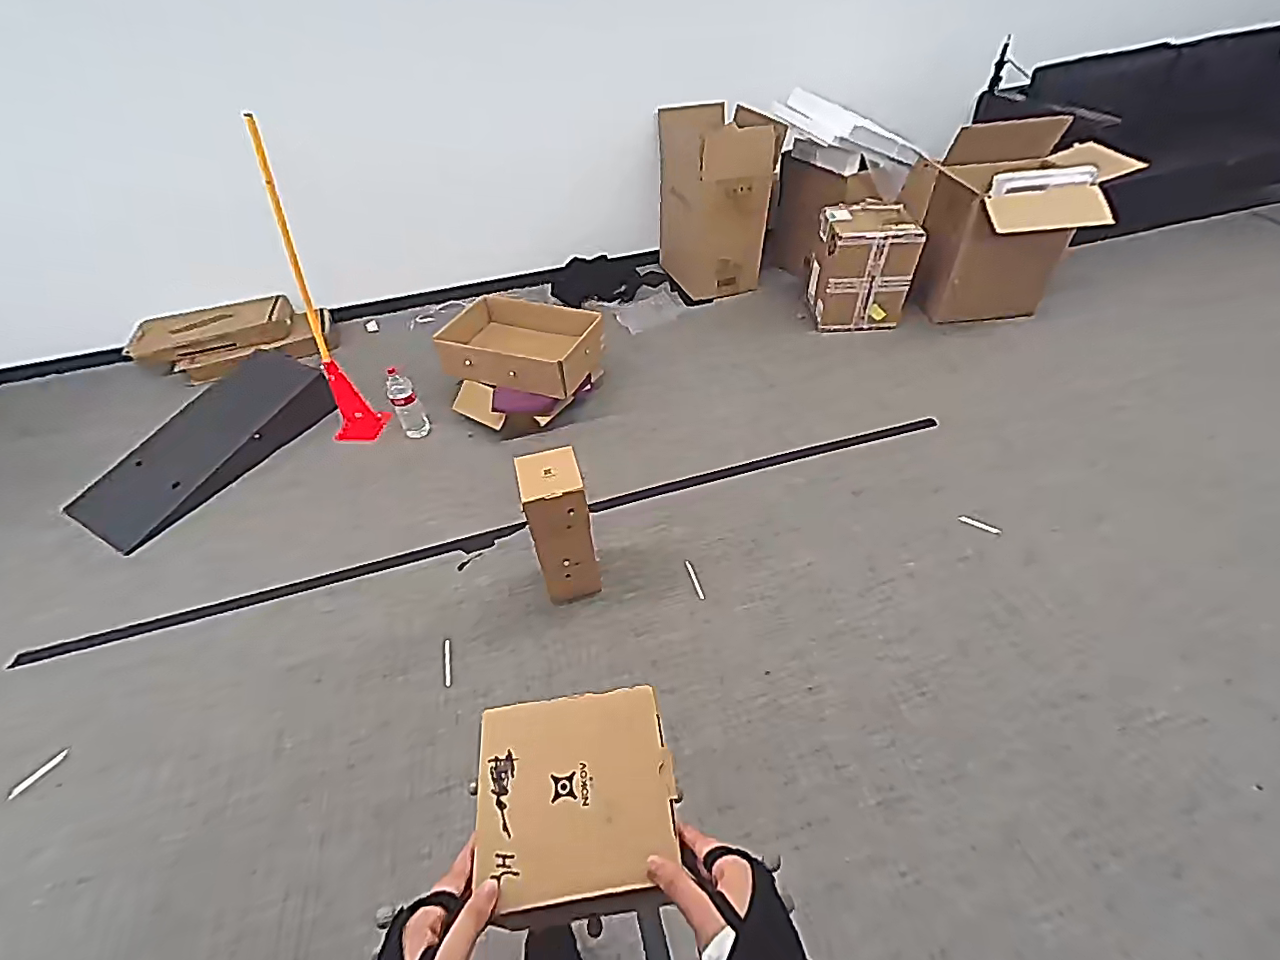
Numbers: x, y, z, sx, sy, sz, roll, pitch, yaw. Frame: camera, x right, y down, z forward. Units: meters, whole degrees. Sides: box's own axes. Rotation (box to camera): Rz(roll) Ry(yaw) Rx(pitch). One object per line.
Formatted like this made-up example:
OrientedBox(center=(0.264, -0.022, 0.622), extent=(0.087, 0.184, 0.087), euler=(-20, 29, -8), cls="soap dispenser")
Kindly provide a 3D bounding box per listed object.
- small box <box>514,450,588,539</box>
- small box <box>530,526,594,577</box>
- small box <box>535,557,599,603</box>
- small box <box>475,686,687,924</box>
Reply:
OrientedBox(center=(-0.247, 0.046, 1.512), extent=(0.168, 0.176, 0.179), euler=(-13, 46, -11), cls="small box")
OrientedBox(center=(-0.241, 0.162, 1.627), extent=(0.168, 0.176, 0.179), euler=(-13, 47, -9), cls="small box")
OrientedBox(center=(-0.238, 0.273, 1.748), extent=(0.179, 0.176, 0.168), euler=(-13, 47, -10), cls="small box")
OrientedBox(center=(-0.057, 0.332, 0.551), extent=(0.179, 0.176, 0.168), euler=(-6, 47, -5), cls="small box")
